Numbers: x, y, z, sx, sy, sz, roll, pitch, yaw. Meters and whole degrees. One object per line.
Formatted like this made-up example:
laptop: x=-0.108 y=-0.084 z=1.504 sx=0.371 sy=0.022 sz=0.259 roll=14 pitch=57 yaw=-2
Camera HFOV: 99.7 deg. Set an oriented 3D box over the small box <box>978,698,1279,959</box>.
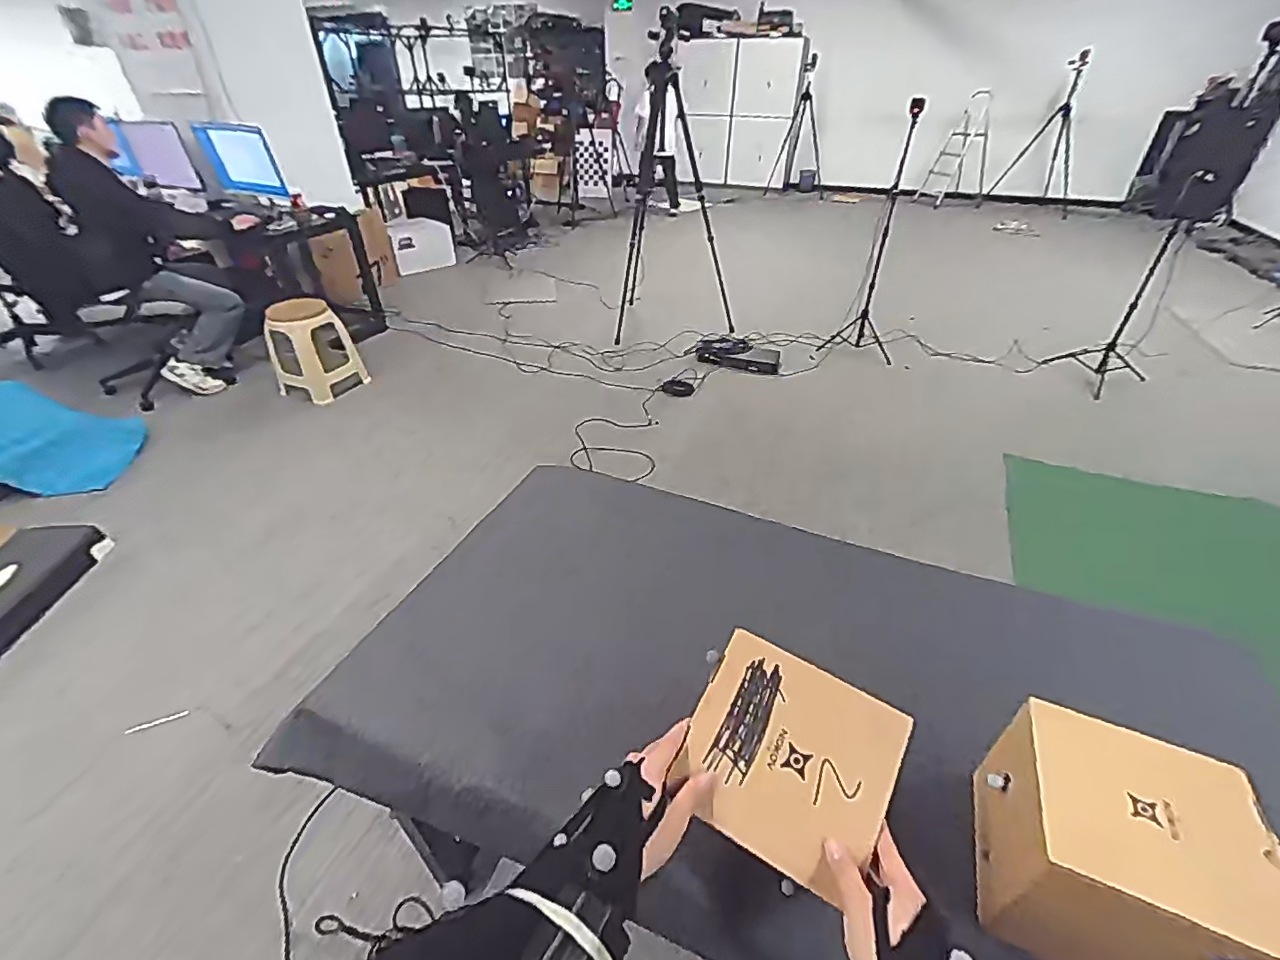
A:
small box: x=0.443 y=0.352 z=0.515 sx=0.179 sy=0.176 sz=0.168 roll=16 pitch=39 yaw=20
